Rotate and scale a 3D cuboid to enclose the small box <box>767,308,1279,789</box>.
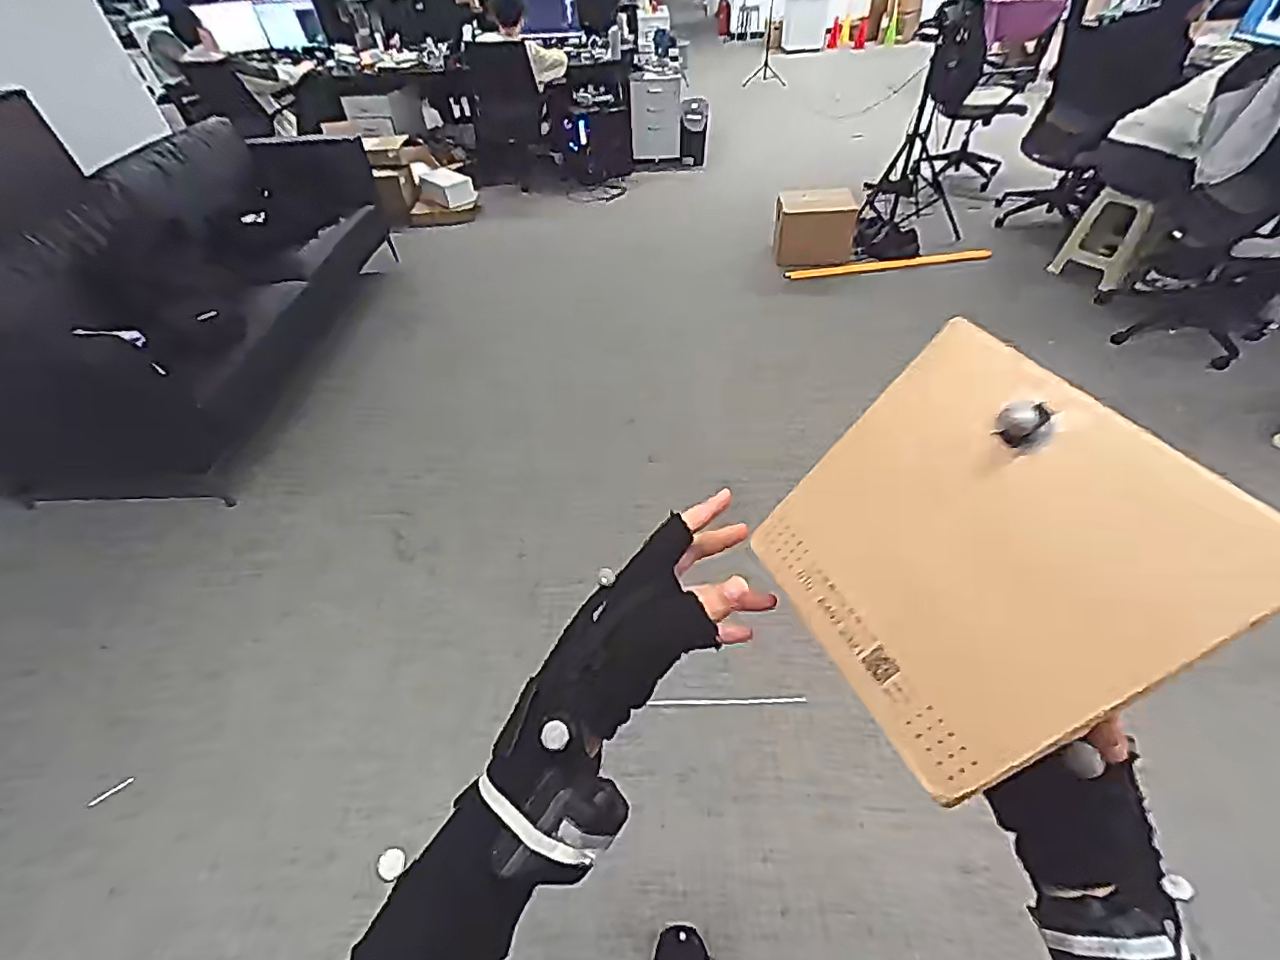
[{"bbox_3d":[0.208,0.043,0.306,0.179,0.176,0.168,15,33,-41],"label":"small box"}]
